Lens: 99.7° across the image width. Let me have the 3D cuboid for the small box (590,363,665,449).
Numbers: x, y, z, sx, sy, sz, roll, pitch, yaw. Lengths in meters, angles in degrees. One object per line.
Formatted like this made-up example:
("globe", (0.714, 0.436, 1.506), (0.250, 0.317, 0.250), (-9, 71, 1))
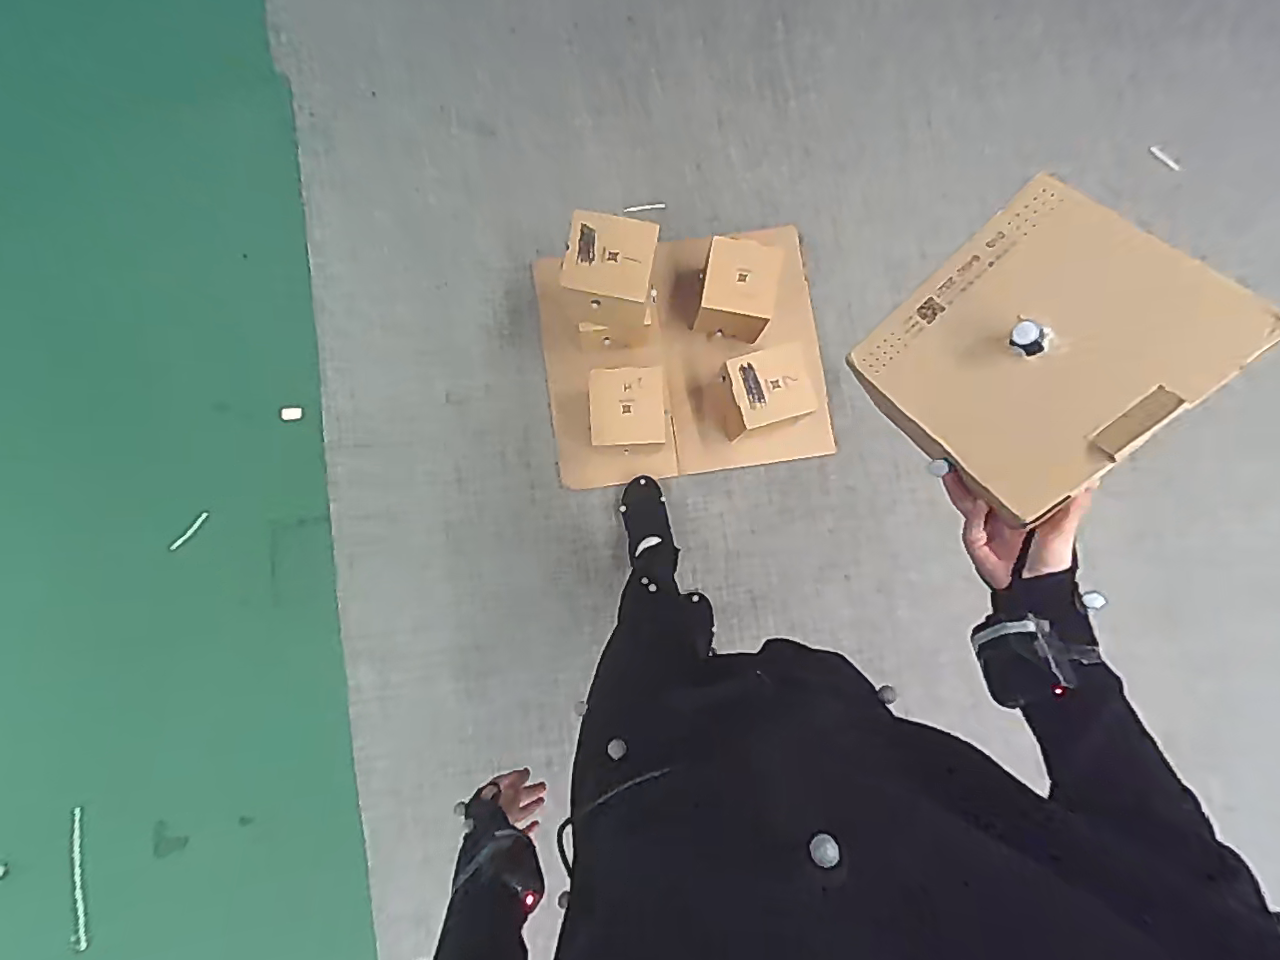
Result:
("small box", (-0.030, -0.166, 1.274), (0.168, 0.176, 0.179), (-2, 85, -2))

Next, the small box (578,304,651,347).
("small box", (-0.064, -0.428, 1.297), (0.168, 0.176, 0.179), (-6, 85, -2))

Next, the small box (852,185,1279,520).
("small box", (0.292, -0.089, 0.418), (0.168, 0.179, 0.176), (-45, 63, 19))

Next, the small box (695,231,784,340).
("small box", (0.232, -0.461, 1.303), (0.168, 0.176, 0.179), (11, 84, 0))

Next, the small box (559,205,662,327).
("small box", (-0.060, -0.439, 1.133), (0.179, 0.176, 0.168), (11, 84, -1))
